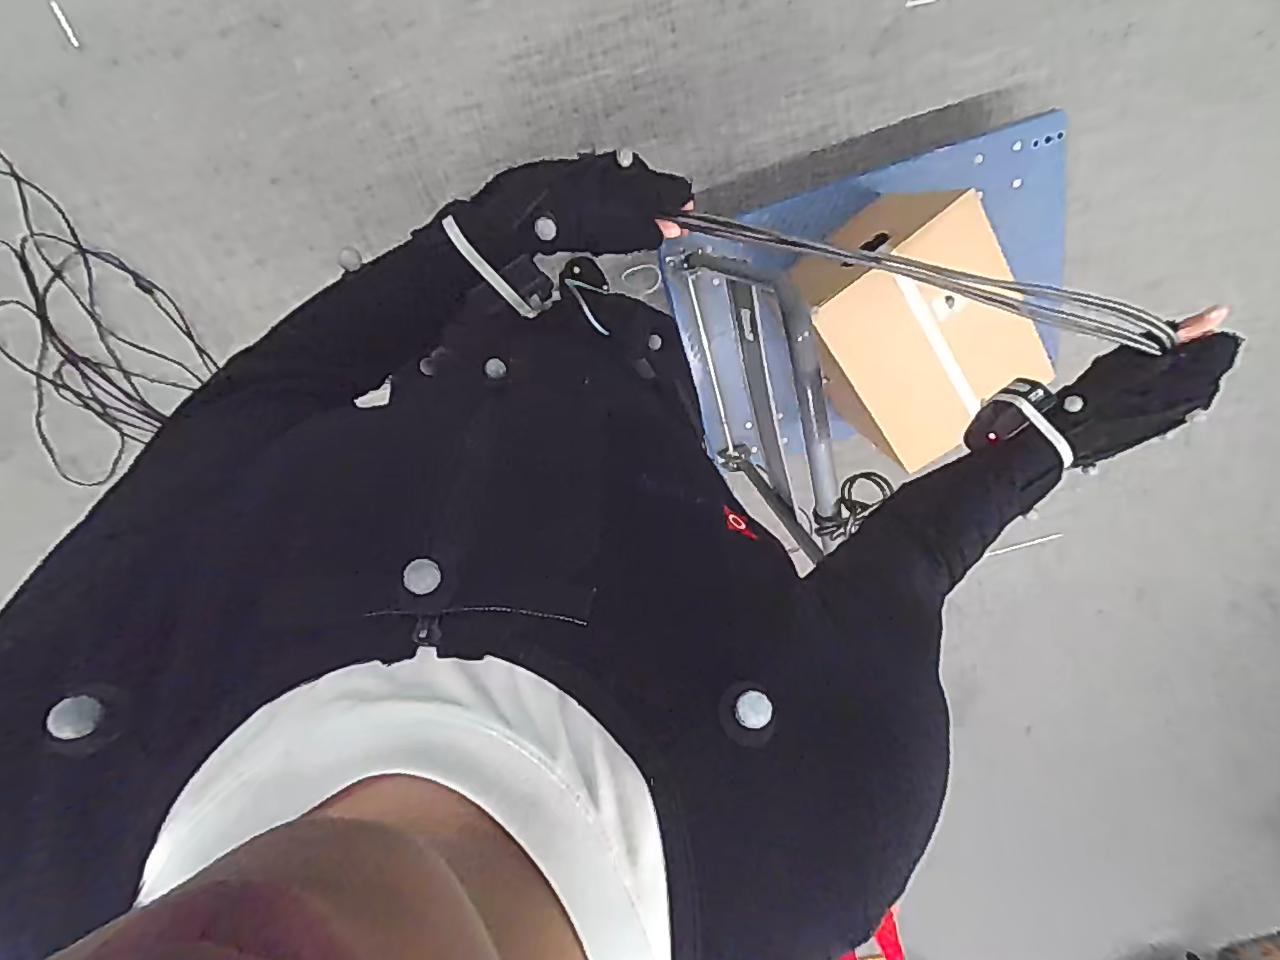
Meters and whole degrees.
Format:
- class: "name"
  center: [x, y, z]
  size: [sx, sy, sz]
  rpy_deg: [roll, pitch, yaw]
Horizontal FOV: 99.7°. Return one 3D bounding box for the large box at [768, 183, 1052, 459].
- class: "large box"
  center: [0.527, -0.324, 1.109]
  size: [0.320, 0.320, 0.408]
  rpy_deg: [-36, 113, 13]
